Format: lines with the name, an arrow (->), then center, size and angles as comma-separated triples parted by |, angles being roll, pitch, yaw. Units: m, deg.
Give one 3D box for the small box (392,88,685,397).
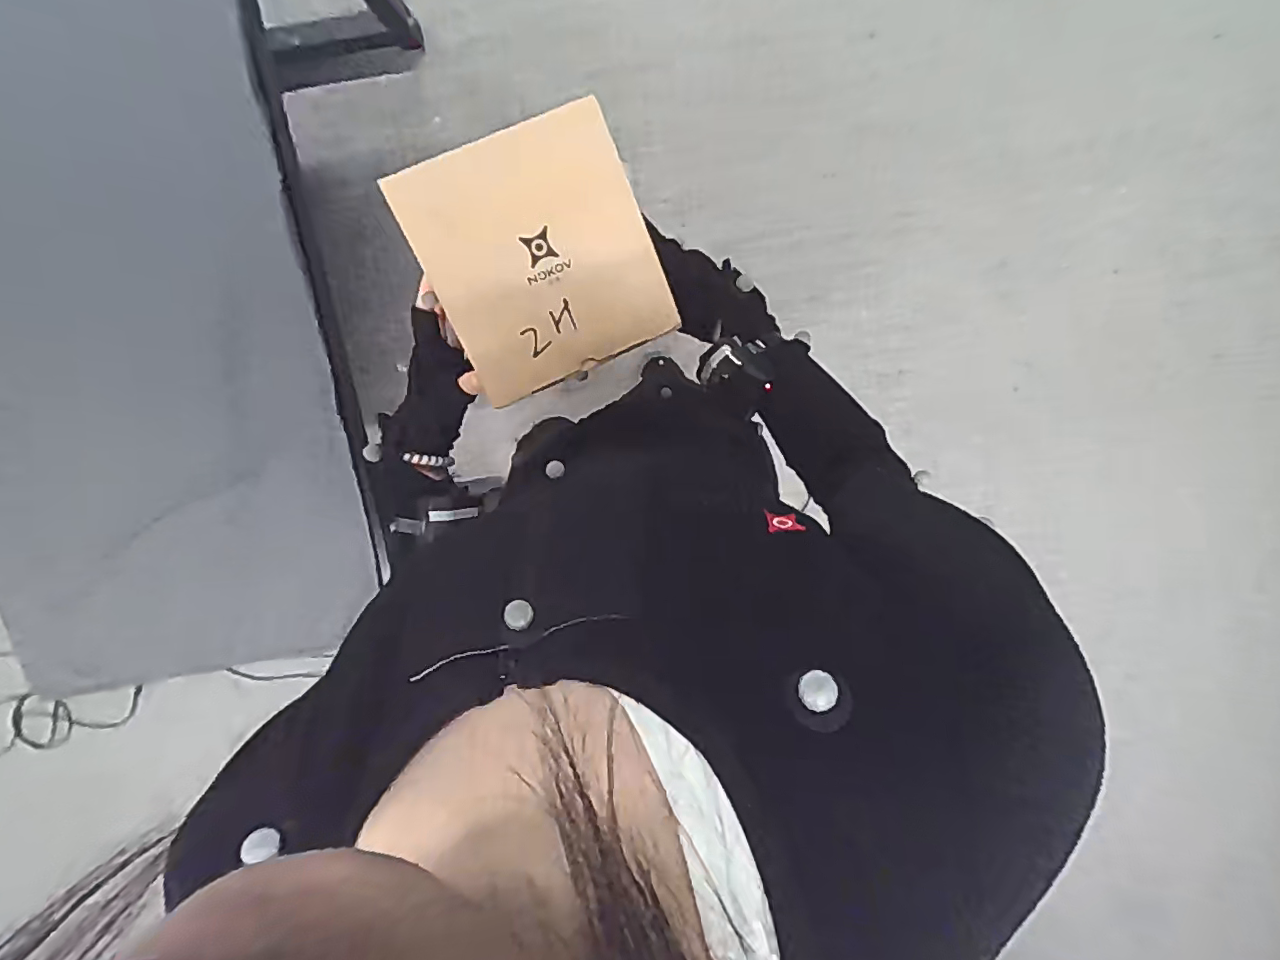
small box -> -0.084, -0.189, 0.474 | 0.168, 0.176, 0.179 | -25, 109, -5
